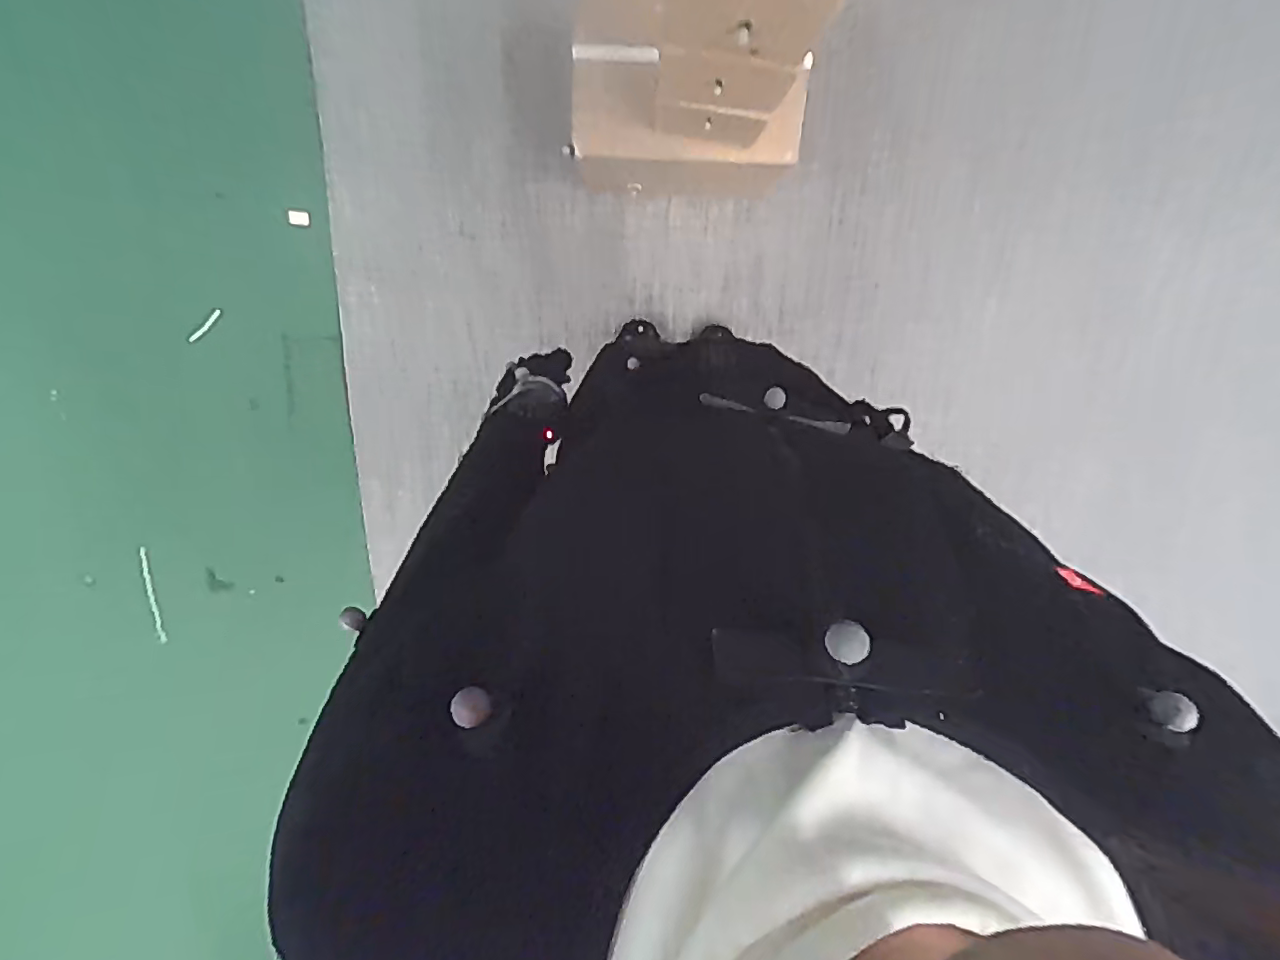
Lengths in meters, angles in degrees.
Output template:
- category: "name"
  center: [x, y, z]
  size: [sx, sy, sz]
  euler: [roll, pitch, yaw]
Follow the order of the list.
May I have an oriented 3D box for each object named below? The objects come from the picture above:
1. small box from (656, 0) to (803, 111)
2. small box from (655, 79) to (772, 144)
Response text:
- category: "small box"
  center: [0.119, -0.601, 0.696]
  size: [0.179, 0.176, 0.168]
  euler: [9, 109, 1]
- category: "small box"
  center: [0.121, -0.650, 0.851]
  size: [0.179, 0.176, 0.168]
  euler: [8, 110, -3]
